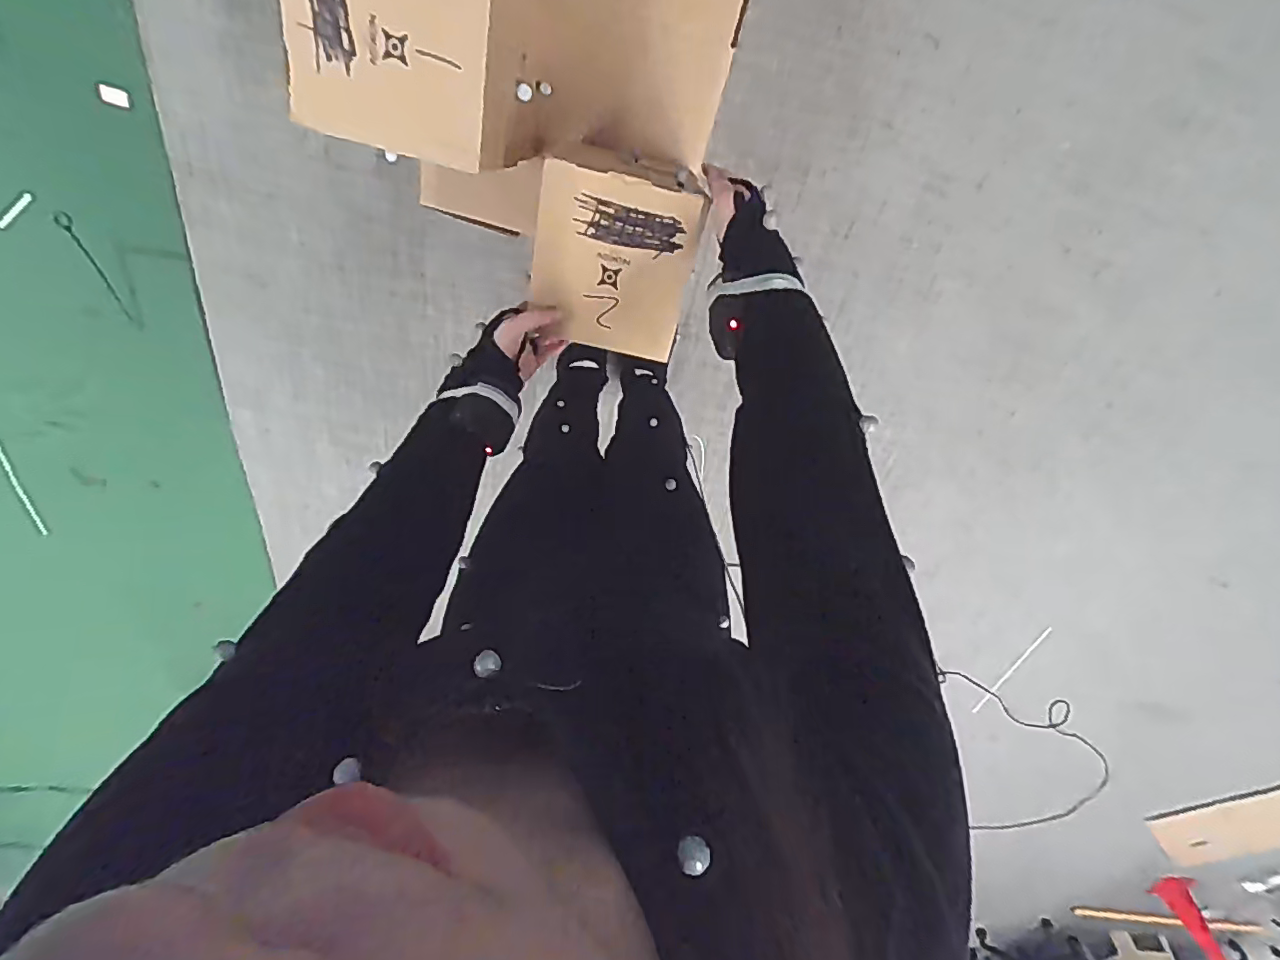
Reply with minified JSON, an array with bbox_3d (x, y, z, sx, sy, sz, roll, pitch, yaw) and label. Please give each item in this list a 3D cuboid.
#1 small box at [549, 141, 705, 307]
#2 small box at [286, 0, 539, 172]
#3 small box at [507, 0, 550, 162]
[{"bbox_3d":[-0.021,-0.364,0.761,0.179,0.176,0.168,10,123,-6],"label":"small box"},{"bbox_3d":[-0.209,-0.418,0.528,0.179,0.176,0.168,12,123,-6],"label":"small box"},{"bbox_3d":[-0.212,-0.513,0.664,0.168,0.176,0.179,12,122,-7],"label":"small box"}]
